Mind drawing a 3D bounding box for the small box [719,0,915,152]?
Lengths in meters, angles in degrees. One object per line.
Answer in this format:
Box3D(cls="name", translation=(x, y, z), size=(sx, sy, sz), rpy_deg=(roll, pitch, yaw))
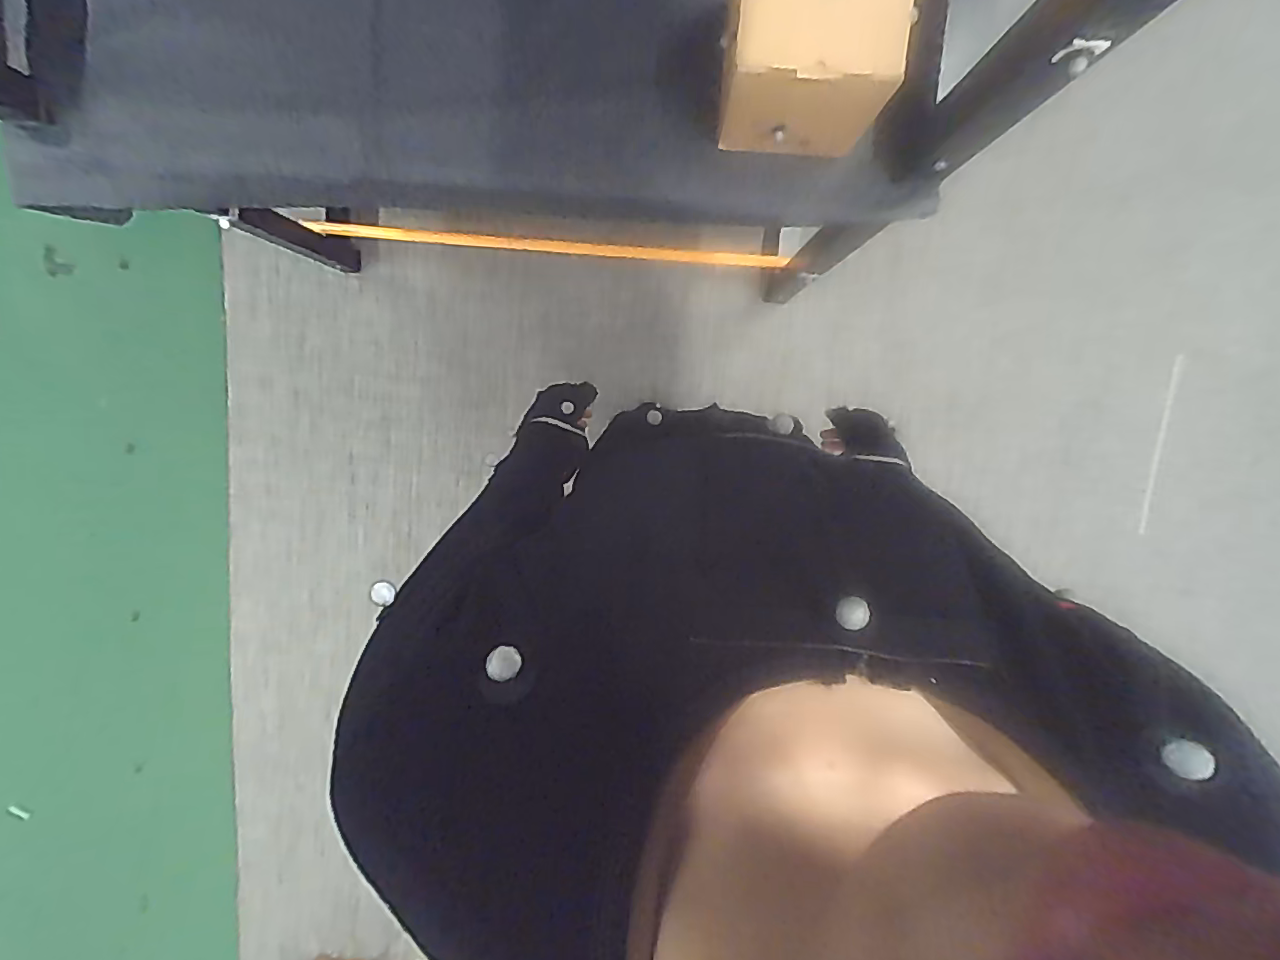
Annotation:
Box3D(cls="small box", translation=(0.181, -0.491, 0.584), size=(0.168, 0.176, 0.179), rpy_deg=(5, 98, 2))
